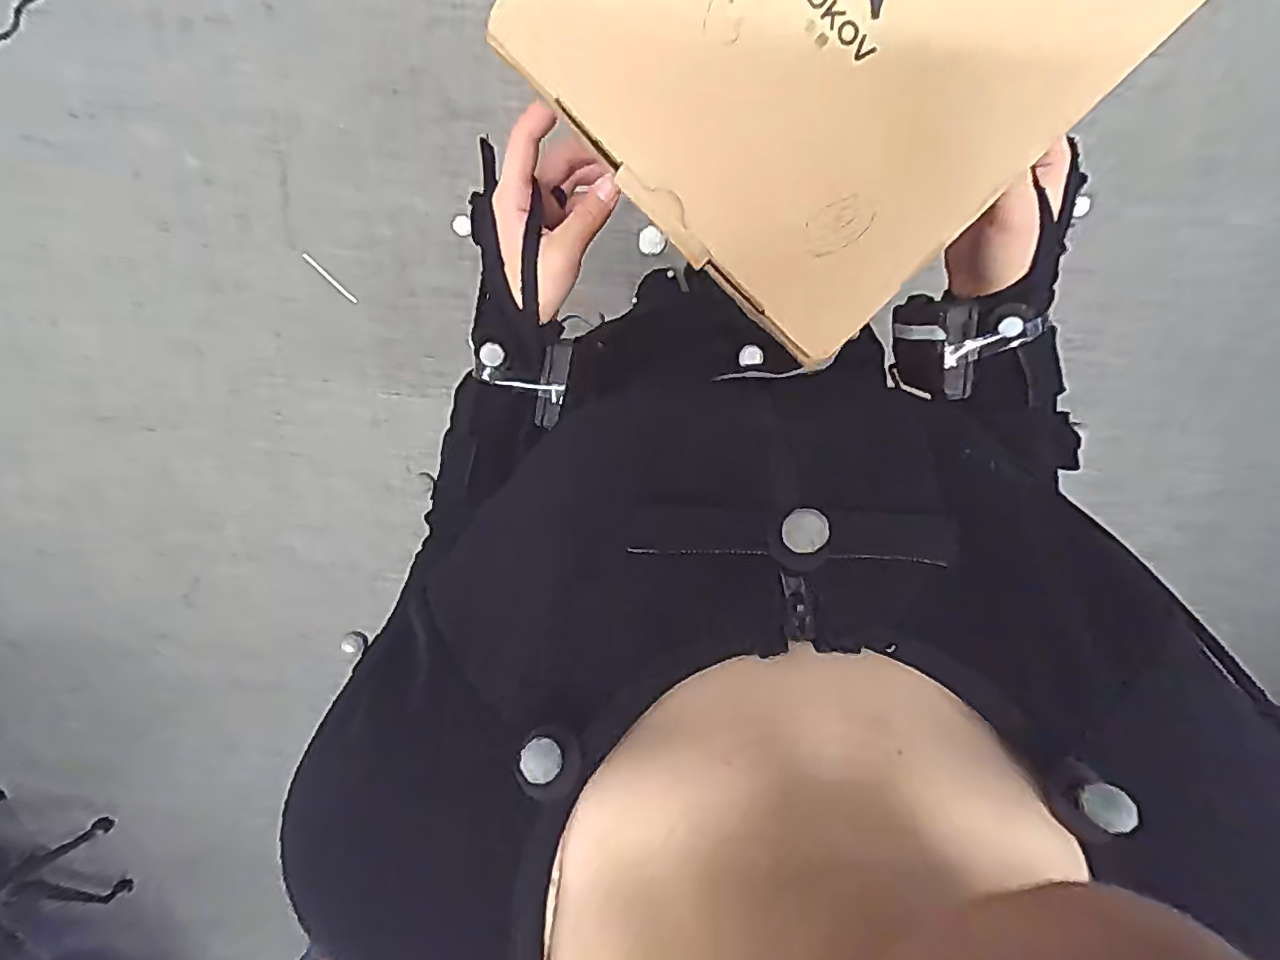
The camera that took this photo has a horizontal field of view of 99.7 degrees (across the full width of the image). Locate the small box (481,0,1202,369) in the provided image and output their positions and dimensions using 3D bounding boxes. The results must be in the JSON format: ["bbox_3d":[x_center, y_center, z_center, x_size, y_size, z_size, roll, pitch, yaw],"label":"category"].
[{"bbox_3d":[0.067,-0.181,0.245,0.168,0.176,0.179,41,110,-13],"label":"small box"}]
